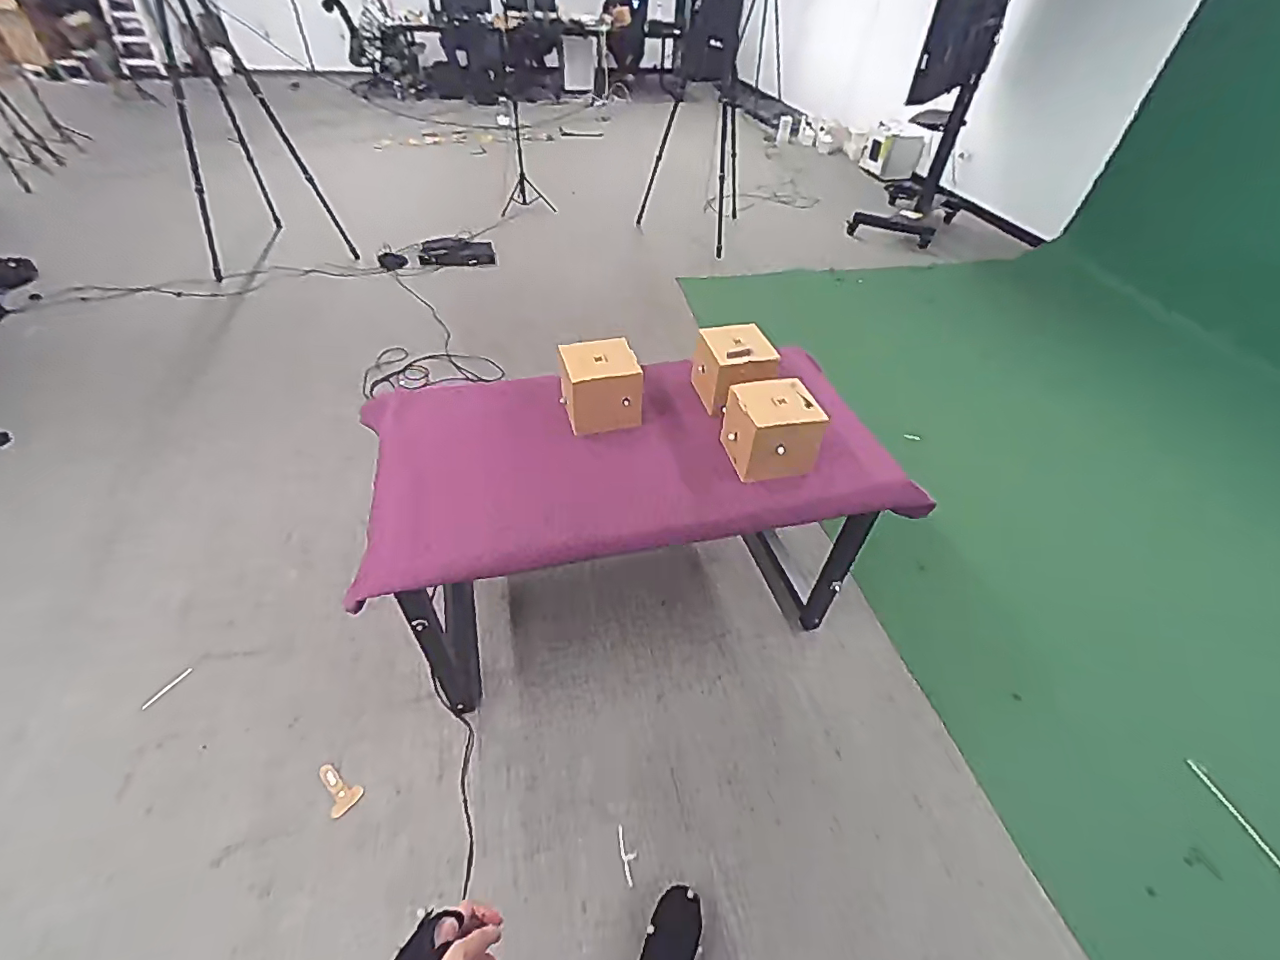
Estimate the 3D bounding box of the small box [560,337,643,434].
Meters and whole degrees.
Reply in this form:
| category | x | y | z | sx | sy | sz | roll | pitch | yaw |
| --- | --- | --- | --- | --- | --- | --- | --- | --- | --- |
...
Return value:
| category | x | y | z | sx | sy | sz | roll | pitch | yaw |
| --- | --- | --- | --- | --- | --- | --- | --- | --- | --- |
| small box | -0.100 | -0.236 | 1.359 | 0.179 | 0.176 | 0.168 | -10 | 47 | -12 |

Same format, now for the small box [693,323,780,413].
| category | x | y | z | sx | sy | sz | roll | pitch | yaw |
| --- | --- | --- | --- | --- | --- | --- | --- | --- | --- |
| small box | 0.248 | -0.291 | 1.431 | 0.168 | 0.176 | 0.179 | -8 | 46 | -11 |

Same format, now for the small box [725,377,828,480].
| category | x | y | z | sx | sy | sz | roll | pitch | yaw |
| --- | --- | --- | --- | --- | --- | --- | --- | --- | --- |
| small box | 0.306 | -0.117 | 1.260 | 0.179 | 0.176 | 0.168 | -8 | 45 | -10 |
